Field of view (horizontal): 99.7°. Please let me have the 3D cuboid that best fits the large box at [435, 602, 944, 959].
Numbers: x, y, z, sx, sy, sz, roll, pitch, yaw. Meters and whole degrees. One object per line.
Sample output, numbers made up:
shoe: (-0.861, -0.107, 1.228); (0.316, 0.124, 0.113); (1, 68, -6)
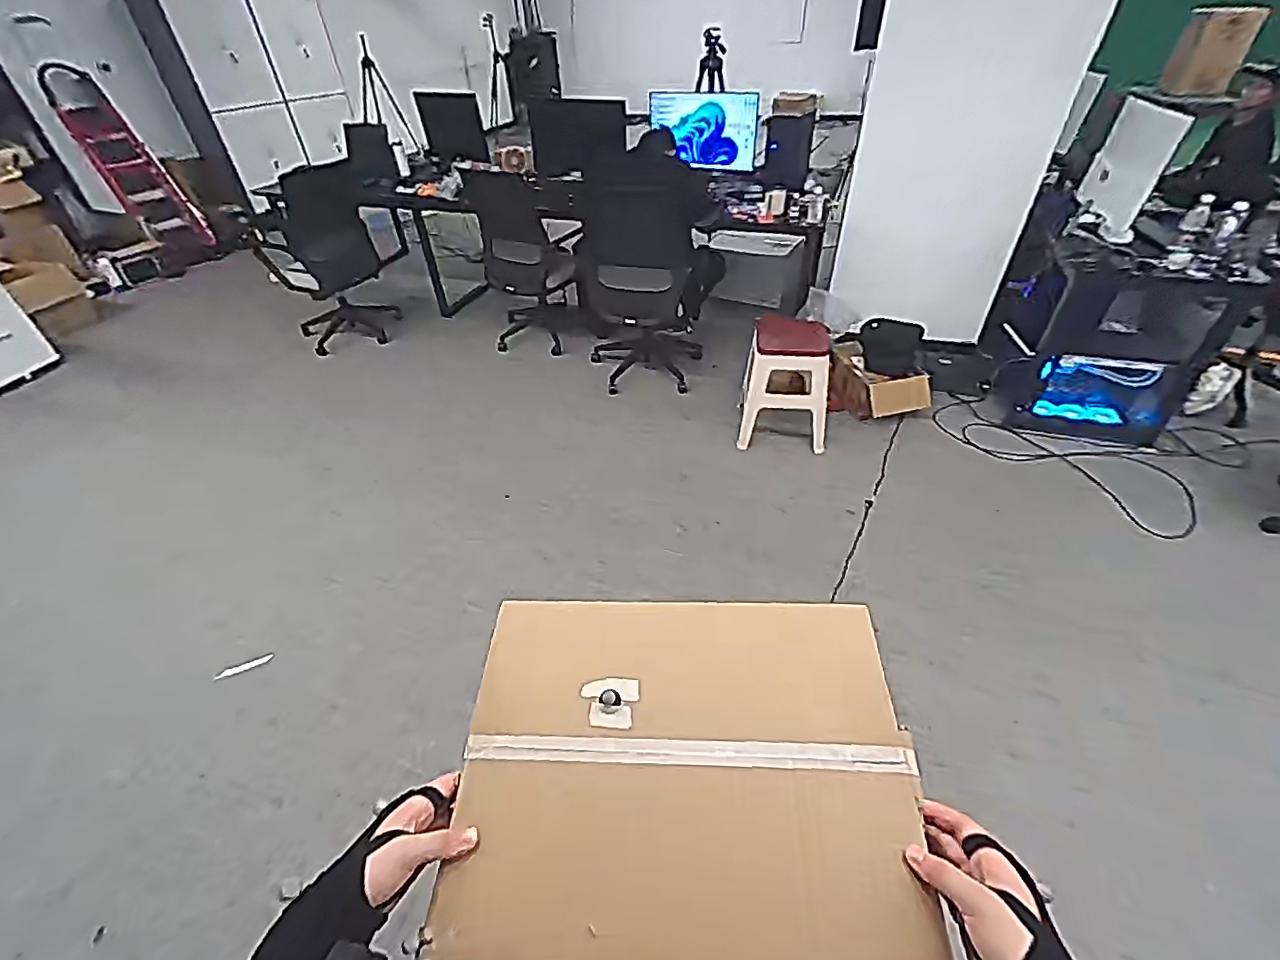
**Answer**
large box: (0.052, 0.357, 0.625); (0.408, 0.320, 0.320); (-3, 47, 6)
